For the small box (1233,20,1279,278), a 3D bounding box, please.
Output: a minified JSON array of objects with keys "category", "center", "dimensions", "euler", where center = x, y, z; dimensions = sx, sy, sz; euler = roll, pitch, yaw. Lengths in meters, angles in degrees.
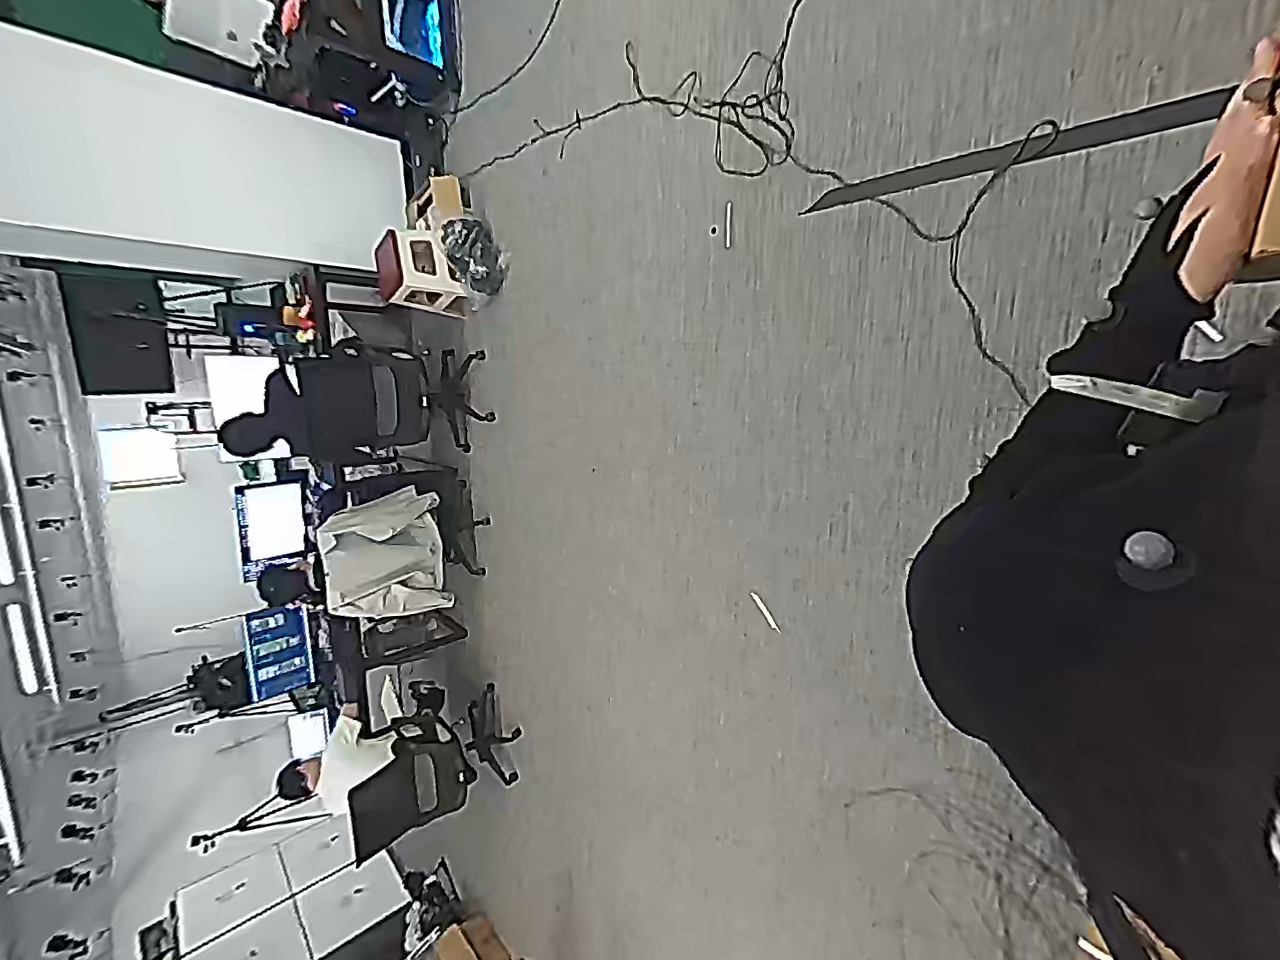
[{"category":"small box","center":[0.451,-0.215,0.284],"dimensions":[0.168,0.176,0.179],"euler":[10,106,43]}]
